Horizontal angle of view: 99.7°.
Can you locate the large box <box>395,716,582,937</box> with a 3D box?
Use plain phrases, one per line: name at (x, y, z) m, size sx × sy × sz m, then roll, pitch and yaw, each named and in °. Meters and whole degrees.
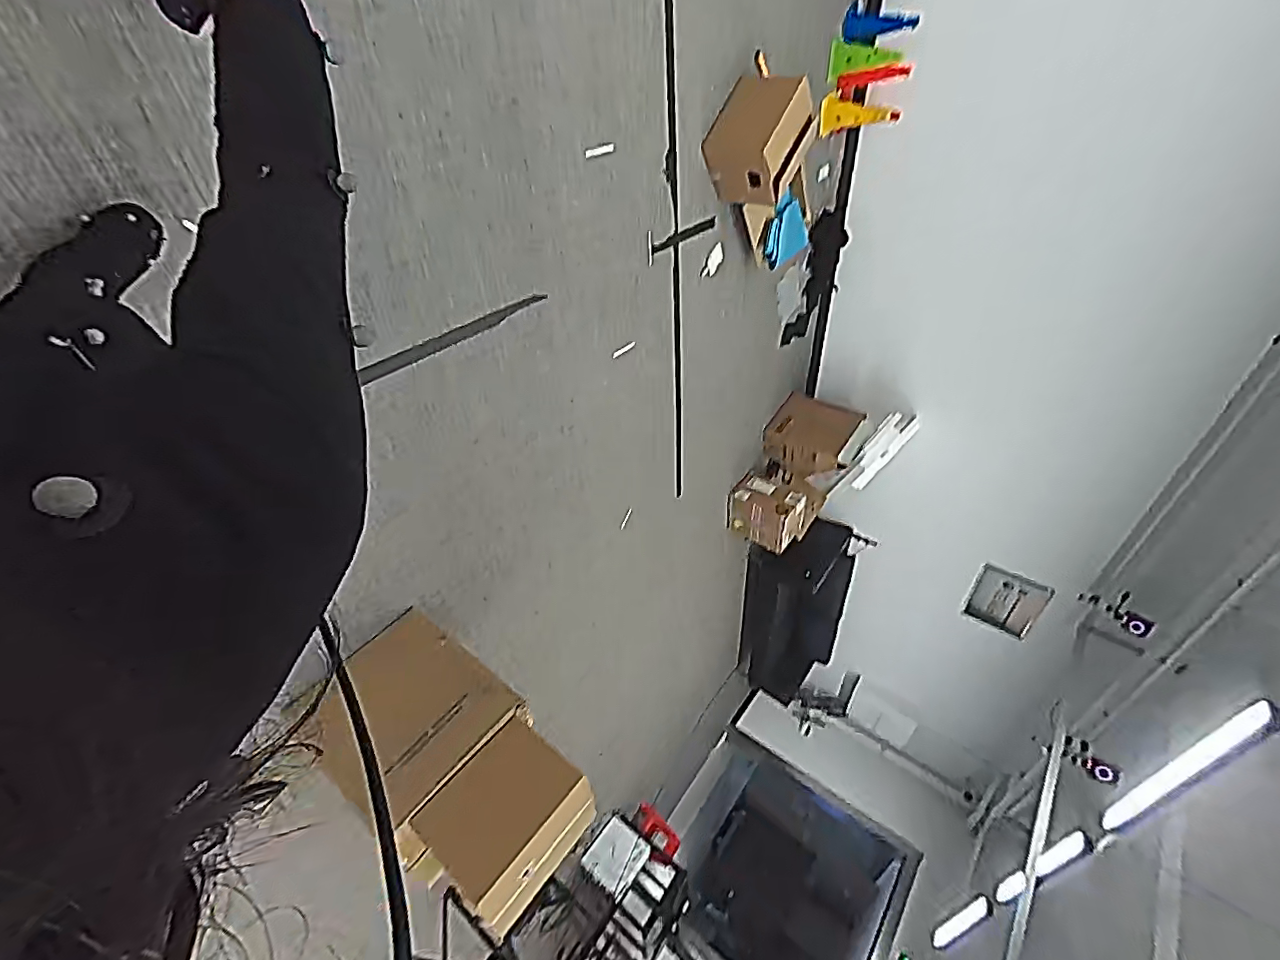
large box at (-0.431, 1.009, 1.611) m, size 0.408 × 0.320 × 0.320 m, roll -38°, pitch 140°, yaw -36°
